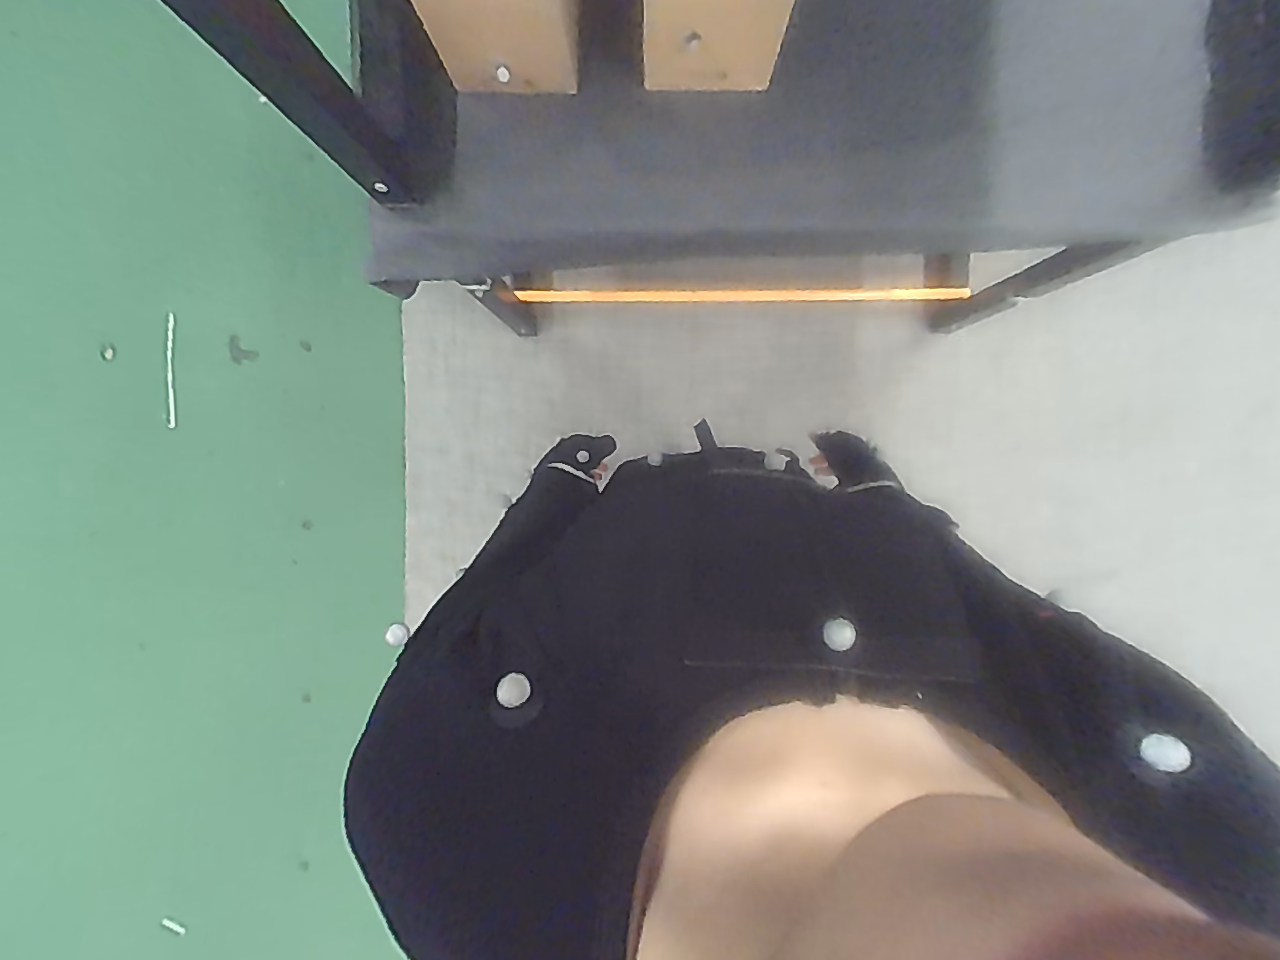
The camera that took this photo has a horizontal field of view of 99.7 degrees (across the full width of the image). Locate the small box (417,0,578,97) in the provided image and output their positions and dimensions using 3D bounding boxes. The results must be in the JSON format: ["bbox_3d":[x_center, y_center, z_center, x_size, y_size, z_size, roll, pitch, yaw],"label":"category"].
[{"bbox_3d":[-0.168,-0.609,0.653,0.168,0.176,0.179,1,93,1],"label":"small box"}]

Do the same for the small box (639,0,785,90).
[{"bbox_3d":[0.085,-0.609,0.651,0.168,0.176,0.179,1,92,1],"label":"small box"}]
